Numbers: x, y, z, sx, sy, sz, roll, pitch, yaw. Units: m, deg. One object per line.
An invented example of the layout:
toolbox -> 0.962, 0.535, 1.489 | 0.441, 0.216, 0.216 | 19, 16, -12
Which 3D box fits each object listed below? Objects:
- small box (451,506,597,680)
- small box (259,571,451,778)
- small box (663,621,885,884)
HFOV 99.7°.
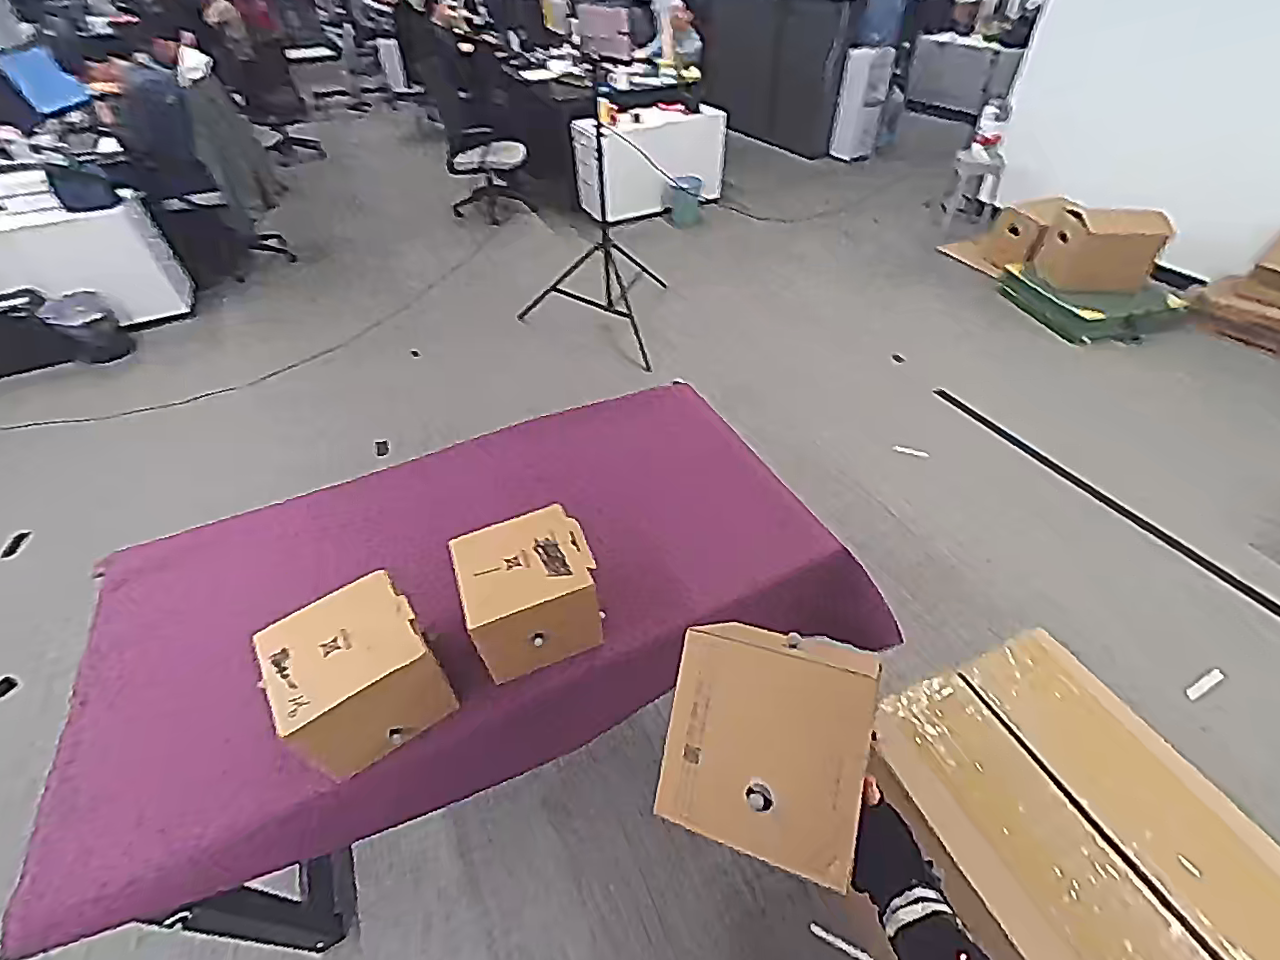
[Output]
small box -> -0.171, 0.174, 0.833 | 0.179, 0.176, 0.168 | -18, 46, -14
small box -> -0.381, 0.267, 0.750 | 0.179, 0.176, 0.168 | -28, 50, -25
small box -> 0.137, 0.242, 0.534 | 0.176, 0.179, 0.168 | 9, 81, 27
